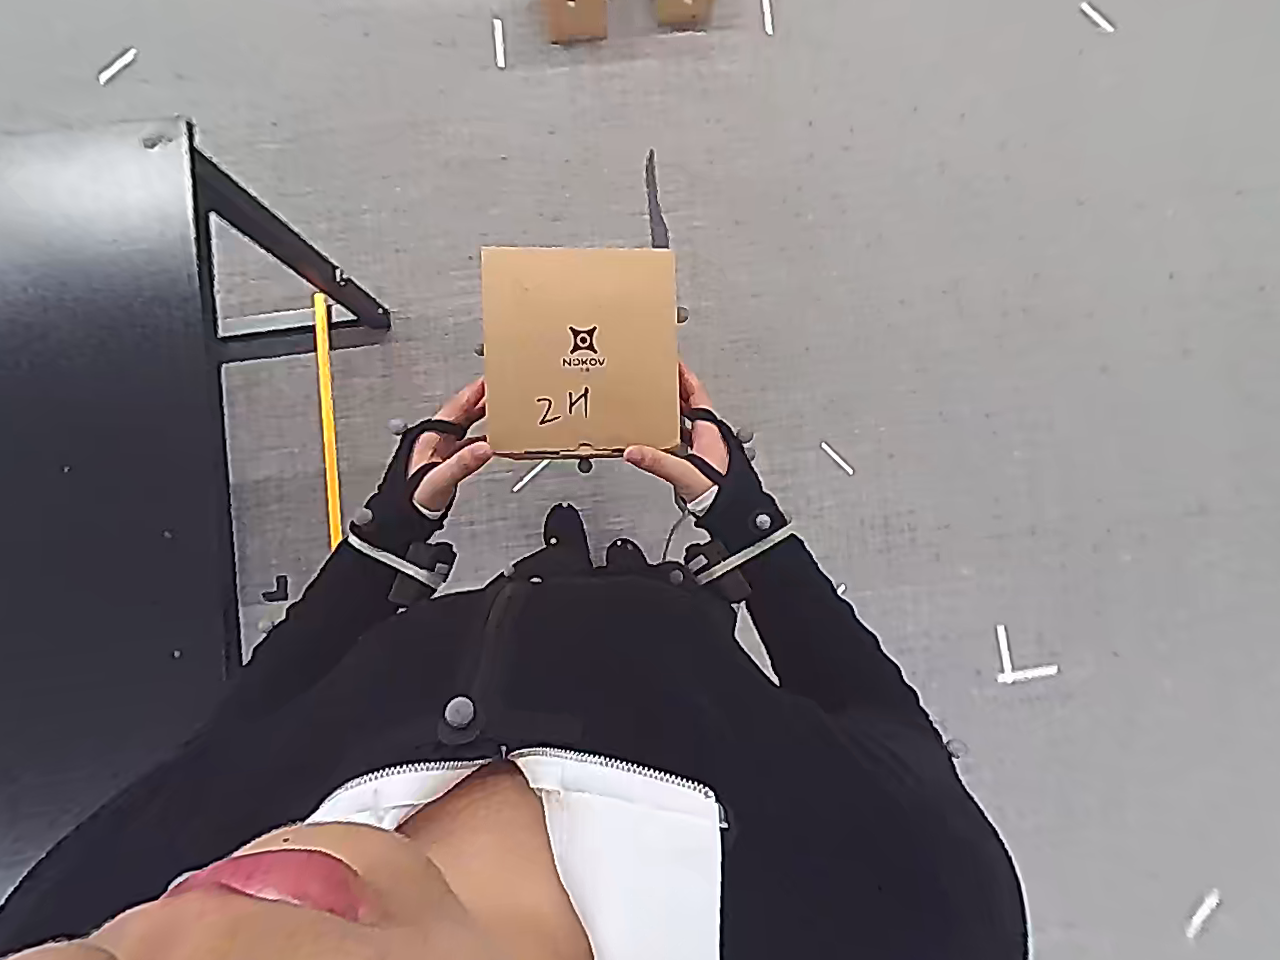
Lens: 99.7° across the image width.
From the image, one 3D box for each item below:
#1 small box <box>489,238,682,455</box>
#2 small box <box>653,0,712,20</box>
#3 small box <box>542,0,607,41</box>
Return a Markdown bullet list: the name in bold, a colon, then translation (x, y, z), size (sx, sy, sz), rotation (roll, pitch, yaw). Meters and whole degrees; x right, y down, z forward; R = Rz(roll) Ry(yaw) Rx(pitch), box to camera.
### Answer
- **small box**: translation (-0.053, -0.117, 0.538), size (0.168, 0.176, 0.179), rotation (-1, 91, -4)
- **small box**: translation (0.121, -1.447, 1.528), size (0.168, 0.176, 0.179), rotation (-6, 87, -2)
- **small box**: translation (-0.191, -1.377, 1.513), size (0.179, 0.176, 0.168), rotation (-8, 87, -2)
